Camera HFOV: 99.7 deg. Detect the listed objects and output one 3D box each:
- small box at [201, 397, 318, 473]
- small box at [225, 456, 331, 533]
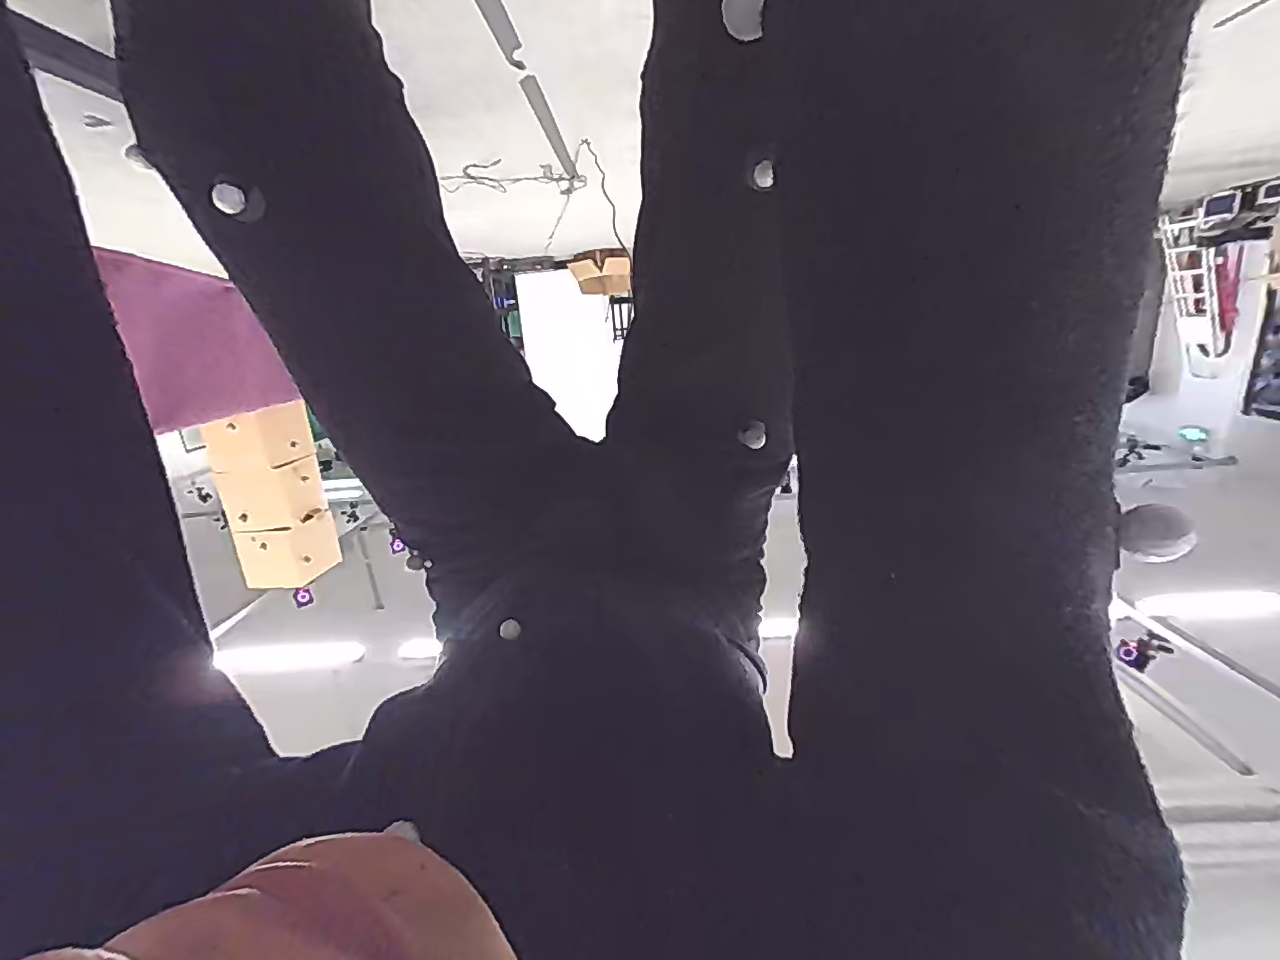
[{"bbox_3d":[-1.003,-0.125,1.435,0.168,0.176,0.179,-3,-164,7],"label":"small box"},{"bbox_3d":[-0.992,0.033,1.482,0.179,0.176,0.168,-5,-163,1],"label":"small box"}]
